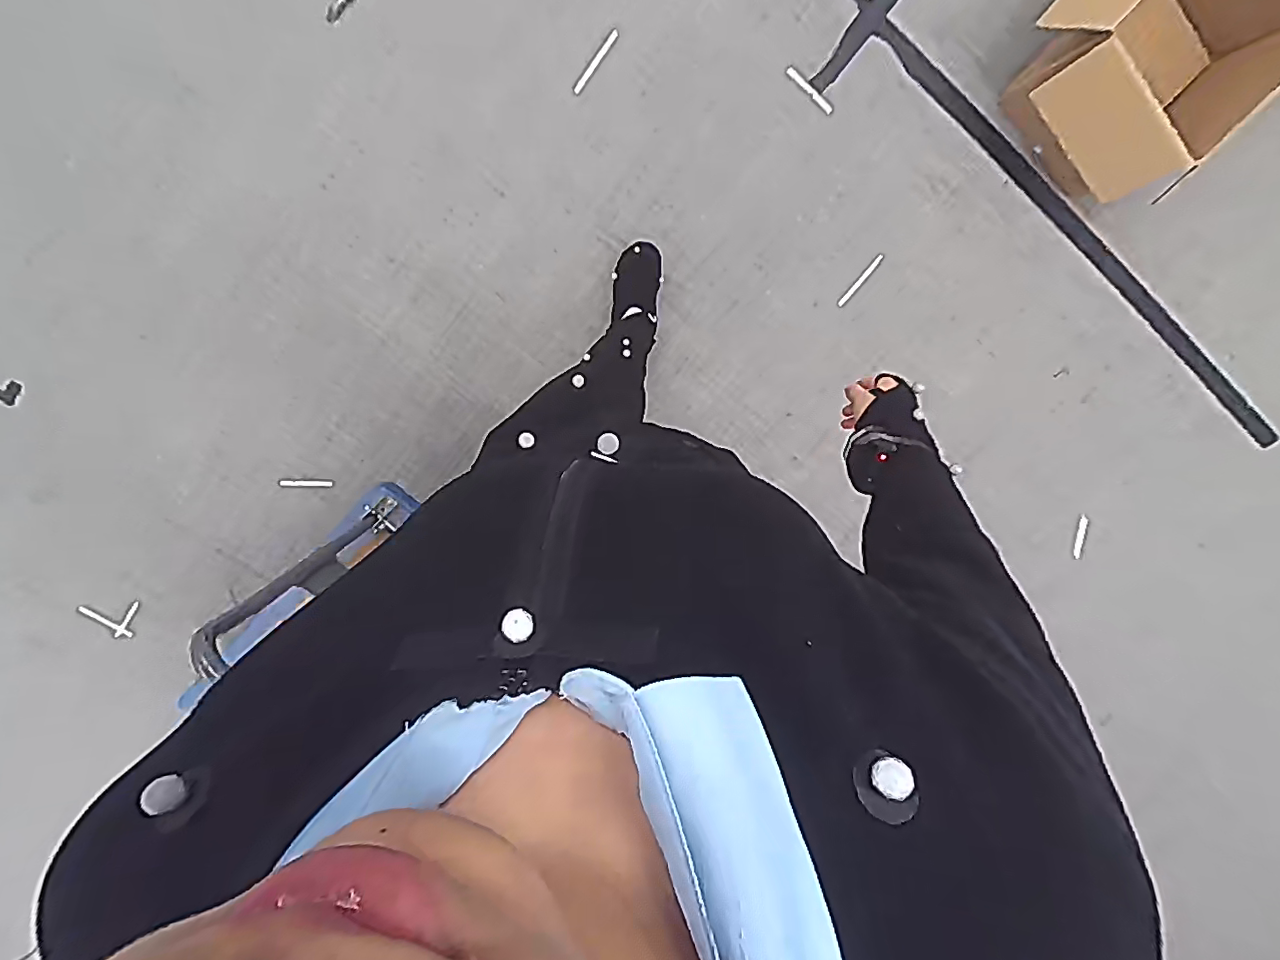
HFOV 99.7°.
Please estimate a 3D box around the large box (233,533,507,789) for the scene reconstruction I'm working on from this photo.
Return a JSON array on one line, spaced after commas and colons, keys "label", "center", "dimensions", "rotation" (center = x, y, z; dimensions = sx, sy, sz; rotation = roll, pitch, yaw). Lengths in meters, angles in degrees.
[{"label": "large box", "center": [-0.582, 0.399, 1.250], "dimensions": [0.320, 0.320, 0.408], "rotation": [-44, 102, 9]}]
